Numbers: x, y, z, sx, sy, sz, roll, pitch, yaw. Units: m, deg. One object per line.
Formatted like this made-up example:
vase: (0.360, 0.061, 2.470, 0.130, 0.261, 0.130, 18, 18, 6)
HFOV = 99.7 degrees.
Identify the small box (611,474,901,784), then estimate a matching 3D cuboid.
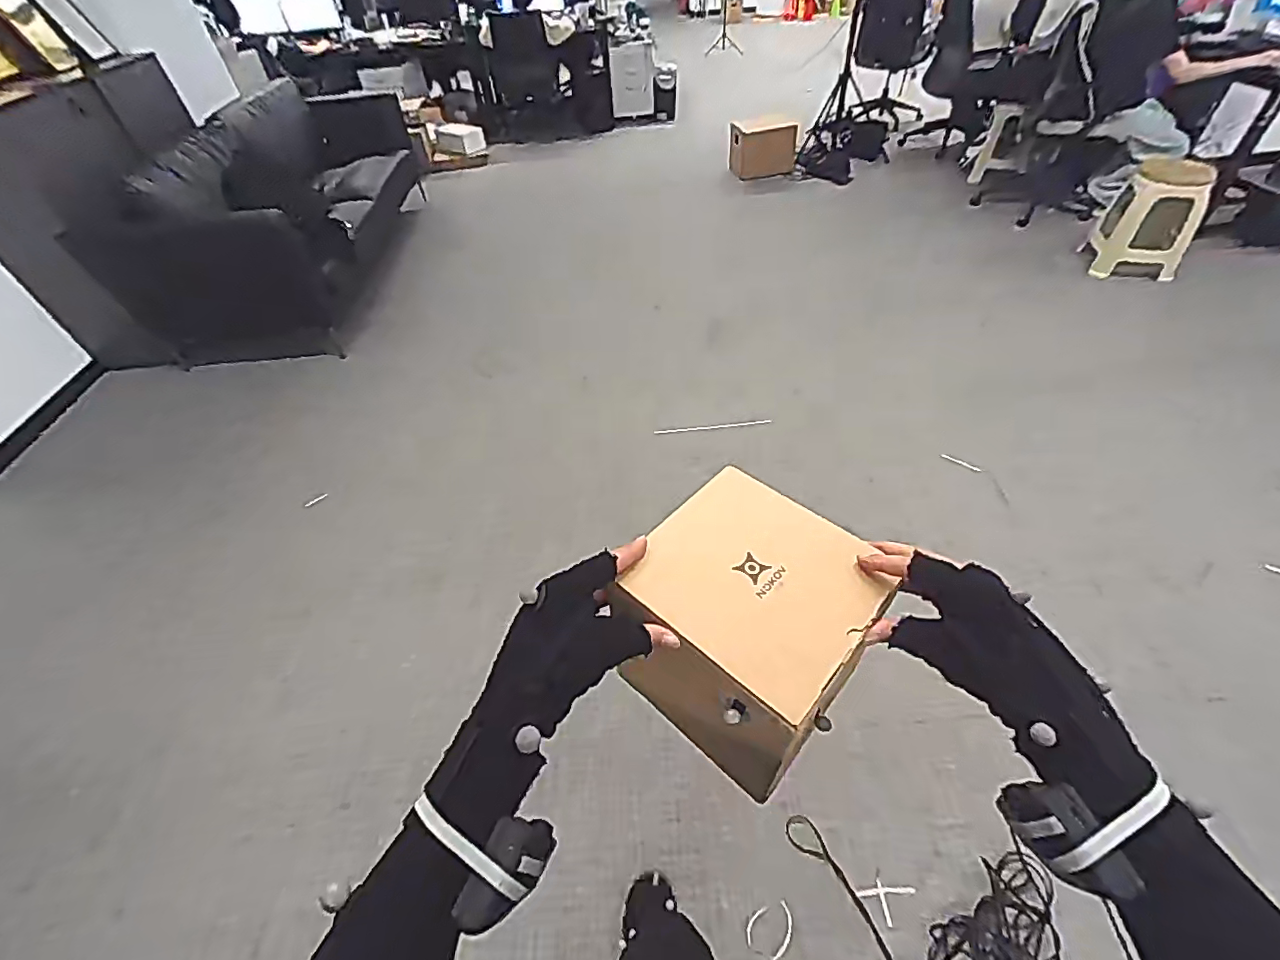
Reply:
small box: (0.092, 0.132, 0.488, 0.179, 0.176, 0.168, 34, 55, 29)
